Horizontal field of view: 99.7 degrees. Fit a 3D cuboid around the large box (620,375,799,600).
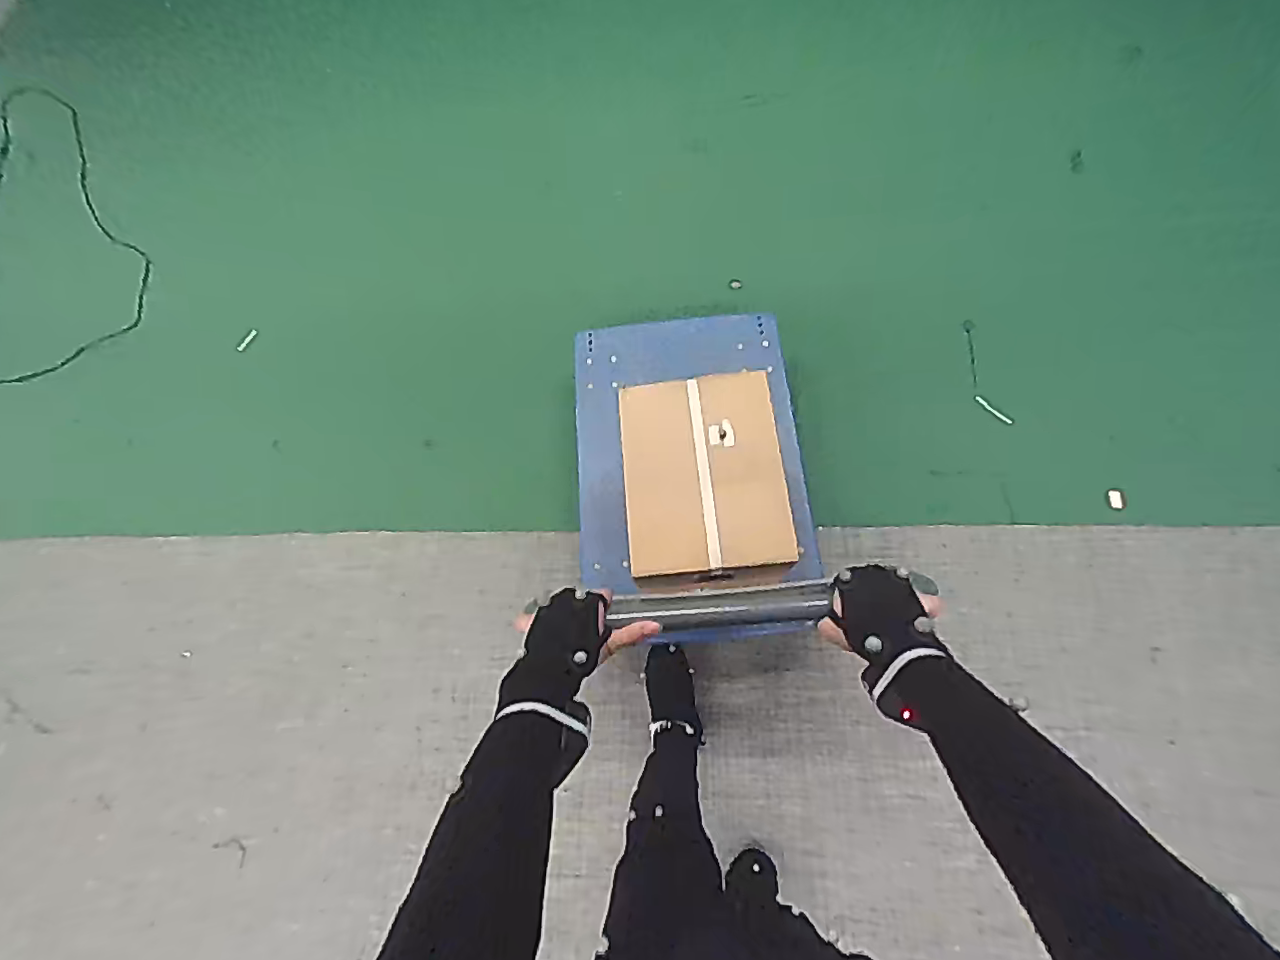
[{"bbox_3d":[0.141,0.034,1.207,0.320,0.320,0.408,-6,69,3],"label":"large box"}]
